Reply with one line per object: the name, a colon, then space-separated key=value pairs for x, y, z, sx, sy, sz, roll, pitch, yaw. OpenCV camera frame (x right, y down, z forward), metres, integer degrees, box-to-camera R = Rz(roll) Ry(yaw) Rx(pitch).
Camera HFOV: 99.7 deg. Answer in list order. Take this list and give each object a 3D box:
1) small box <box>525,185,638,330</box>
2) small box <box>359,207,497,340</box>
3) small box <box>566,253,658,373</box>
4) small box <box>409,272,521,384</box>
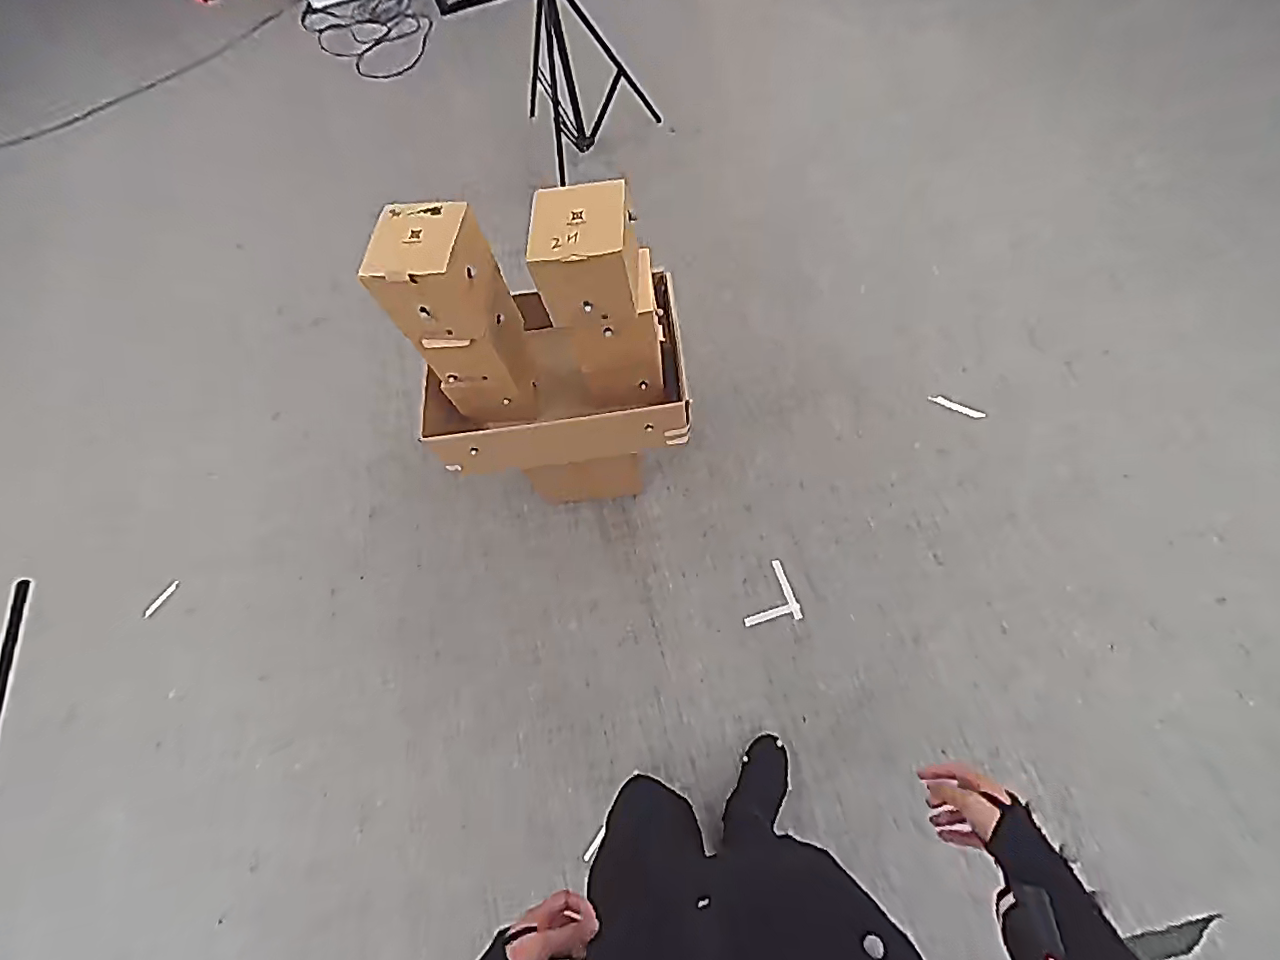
small box: x=-0.099 y=-0.403 z=0.994 sx=0.168 sy=0.176 sz=0.179 roll=-3 pitch=66 yaw=8
small box: x=-0.388 y=-0.382 z=1.023 sx=0.168 sy=0.176 sz=0.179 roll=3 pitch=67 yaw=9
small box: x=-0.055 y=-0.346 z=1.144 sx=0.179 sy=0.176 sz=0.168 roll=-6 pitch=65 yaw=6
small box: x=-0.369 y=-0.321 z=1.175 sx=0.168 sy=0.176 sz=0.179 roll=-1 pitch=65 yaw=7
